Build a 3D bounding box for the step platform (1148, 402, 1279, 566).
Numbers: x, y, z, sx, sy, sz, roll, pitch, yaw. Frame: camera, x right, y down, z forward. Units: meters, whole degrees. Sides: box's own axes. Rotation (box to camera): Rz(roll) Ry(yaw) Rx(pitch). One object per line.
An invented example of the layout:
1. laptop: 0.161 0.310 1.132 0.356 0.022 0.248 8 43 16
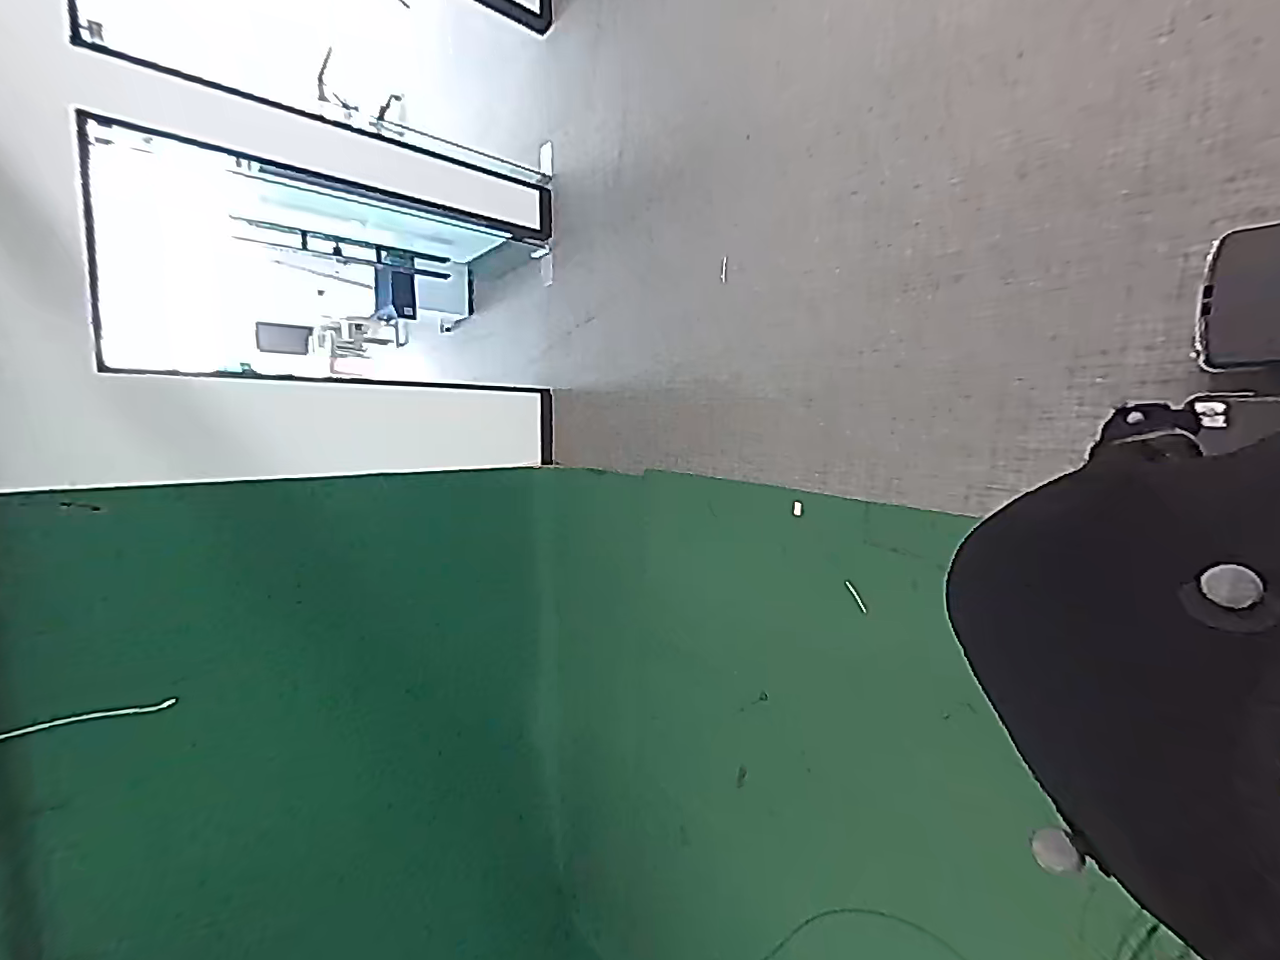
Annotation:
1. step platform: 1.218 0.029 0.784 0.684 0.204 0.286 8 99 49
